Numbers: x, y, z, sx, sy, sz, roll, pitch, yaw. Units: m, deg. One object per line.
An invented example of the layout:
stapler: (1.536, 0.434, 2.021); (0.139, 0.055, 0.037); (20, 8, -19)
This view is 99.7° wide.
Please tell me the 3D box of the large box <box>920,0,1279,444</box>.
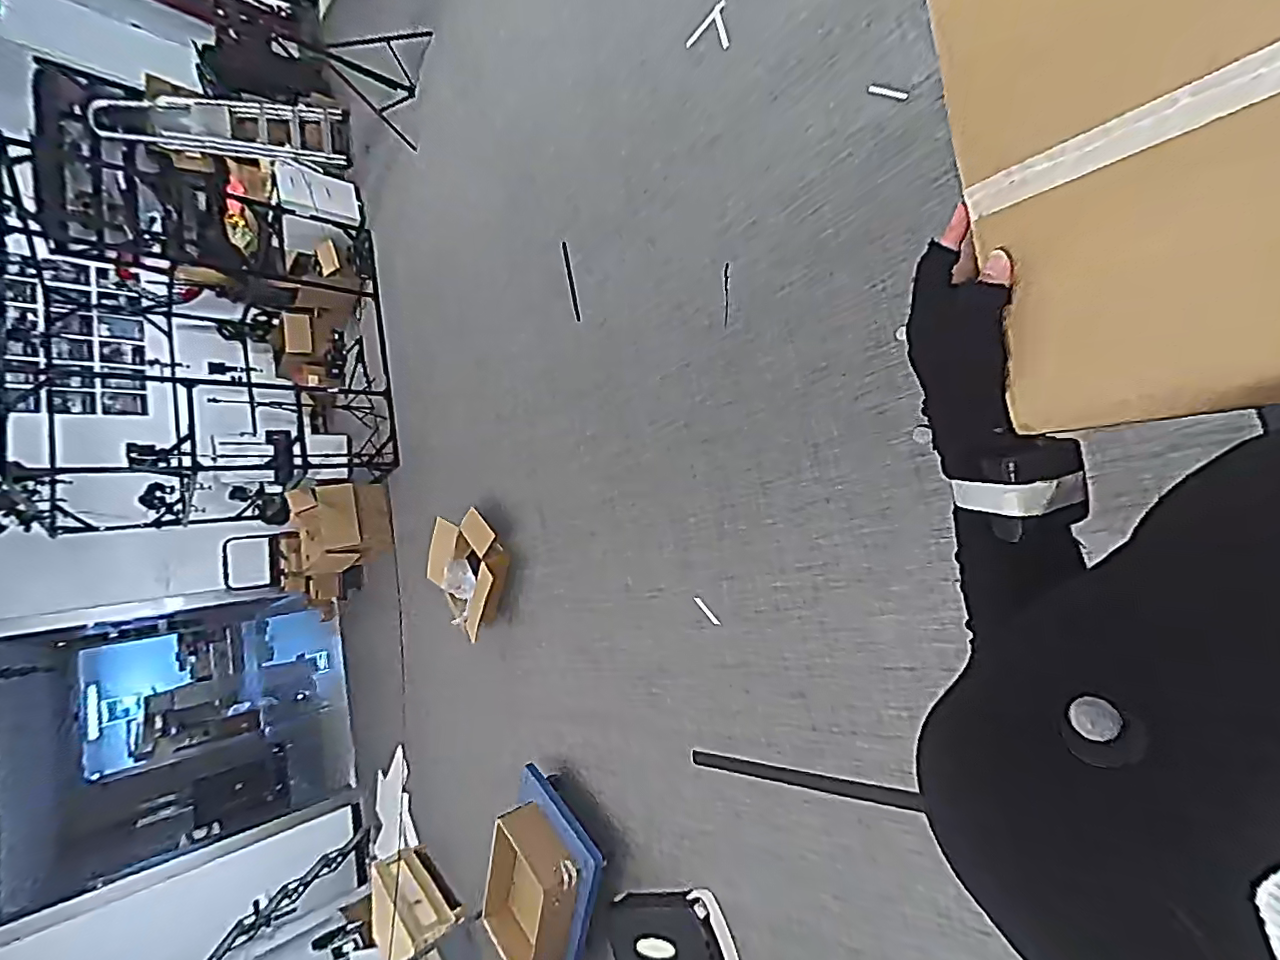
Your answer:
large box: (0.453, -0.231, 0.299); (0.408, 0.320, 0.320); (-9, 97, 52)
